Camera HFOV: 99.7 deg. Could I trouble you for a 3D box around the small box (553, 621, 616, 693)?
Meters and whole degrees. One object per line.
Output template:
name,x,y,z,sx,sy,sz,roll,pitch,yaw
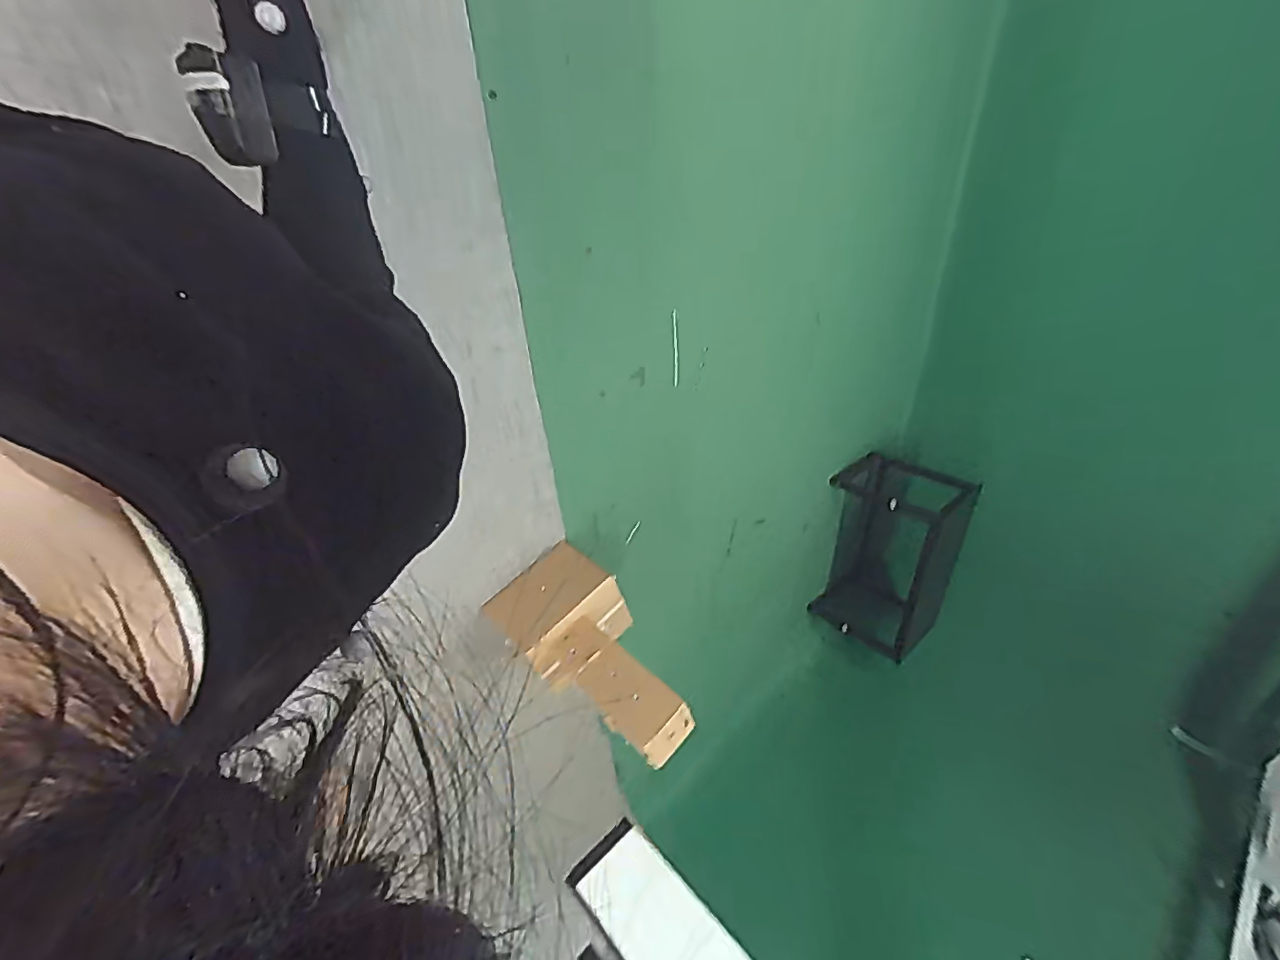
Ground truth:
small box,-0.175,0.617,1.870,0.168,0.176,0.179,-40,134,-23

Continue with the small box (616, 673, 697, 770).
small box,0.045,0.735,1.657,0.179,0.176,0.168,-40,134,-22

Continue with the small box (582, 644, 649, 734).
small box,-0.067,0.678,1.763,0.179,0.176,0.168,-41,134,-23

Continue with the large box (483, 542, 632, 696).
large box,-0.306,0.516,2.055,0.408,0.320,0.320,-42,136,-24
